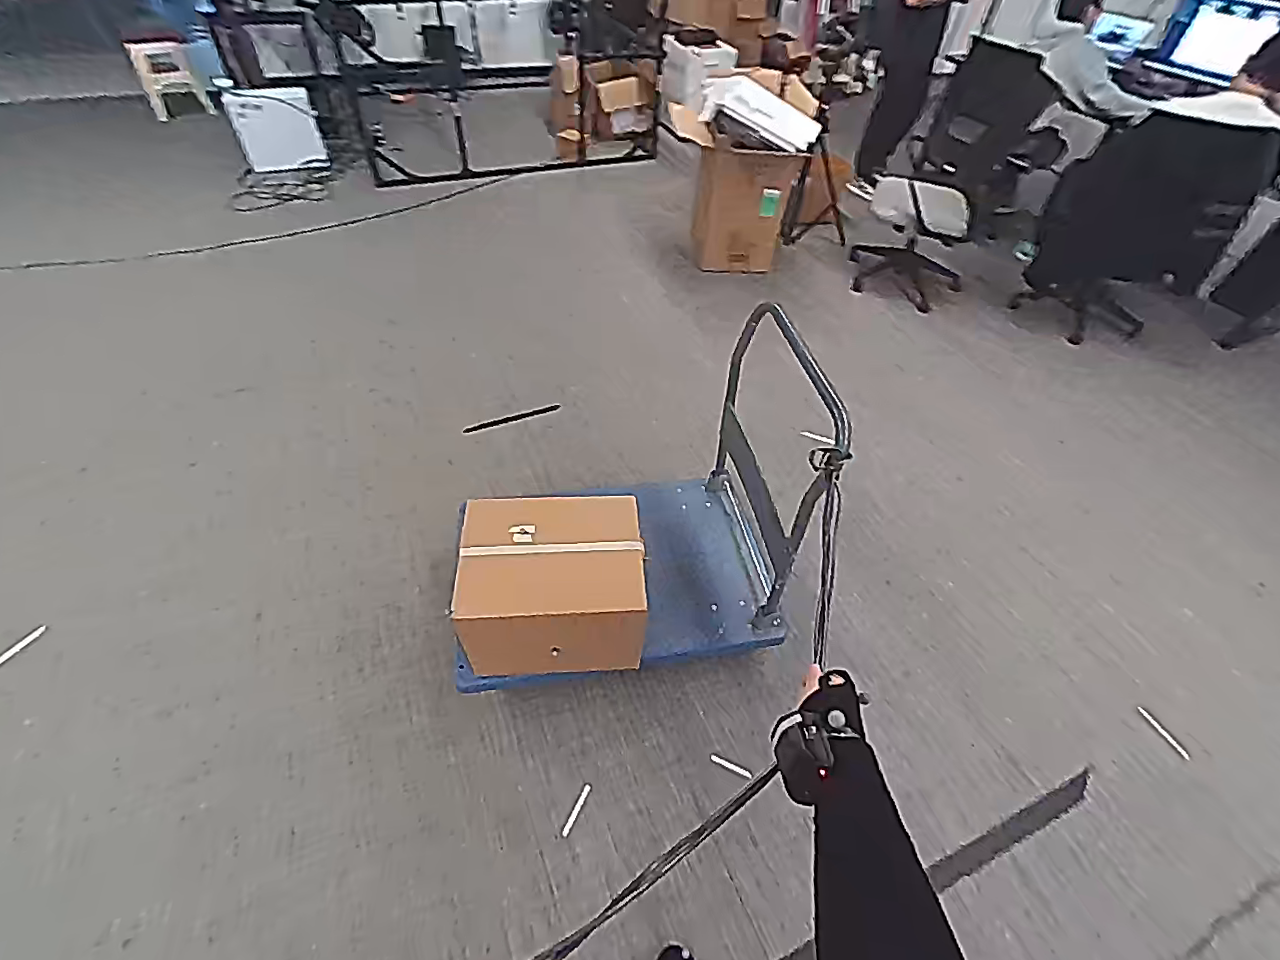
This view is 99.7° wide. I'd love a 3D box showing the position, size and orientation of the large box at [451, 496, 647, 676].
[{"bbox_3d":[-0.202,0.260,1.310,0.408,0.320,0.320,-2,48,-5],"label":"large box"}]
